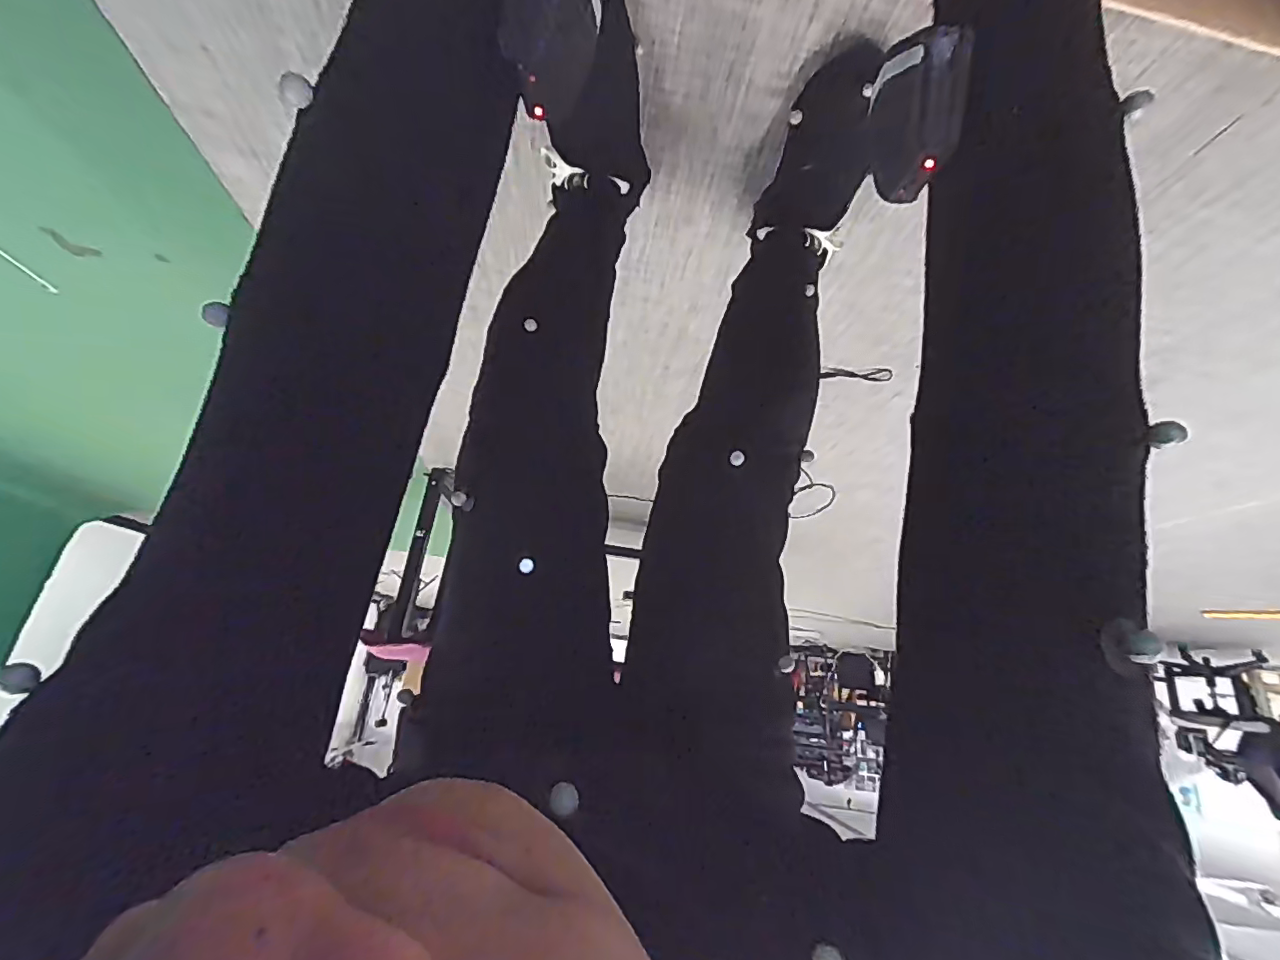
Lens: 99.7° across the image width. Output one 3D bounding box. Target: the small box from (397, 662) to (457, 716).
[{"bbox_3d":[-0.790,0.775,2.017,0.168,0.176,0.179,10,162,-9],"label":"small box"}]
